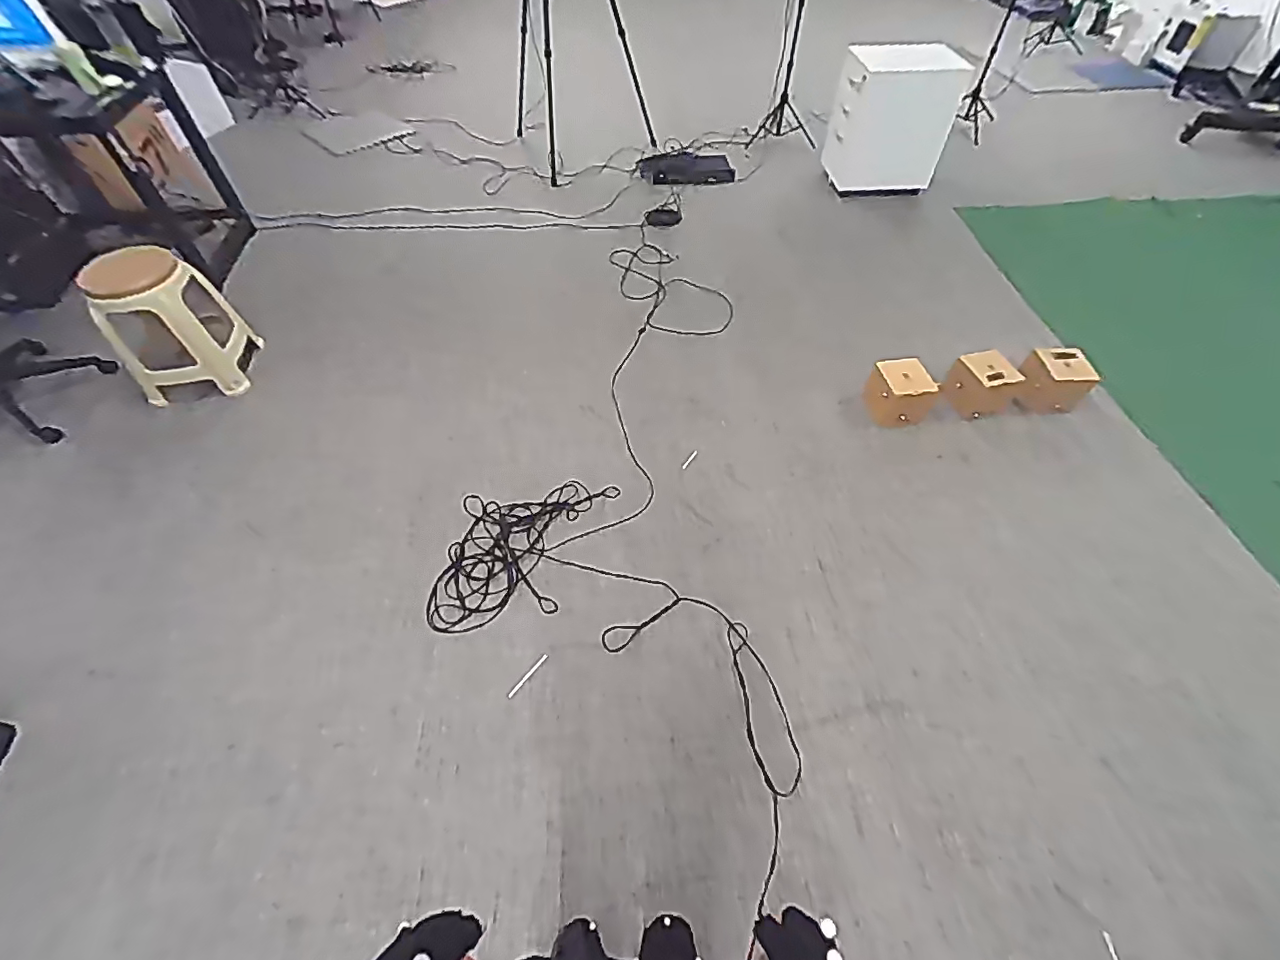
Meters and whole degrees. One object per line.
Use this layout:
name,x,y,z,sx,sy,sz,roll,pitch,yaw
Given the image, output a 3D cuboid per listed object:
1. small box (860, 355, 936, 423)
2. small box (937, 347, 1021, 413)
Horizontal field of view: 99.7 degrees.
small box,0.936,-0.331,1.984,0.168,0.176,0.179,-8,54,-5
small box,1.251,-0.366,2.009,0.168,0.176,0.179,-10,53,-8
